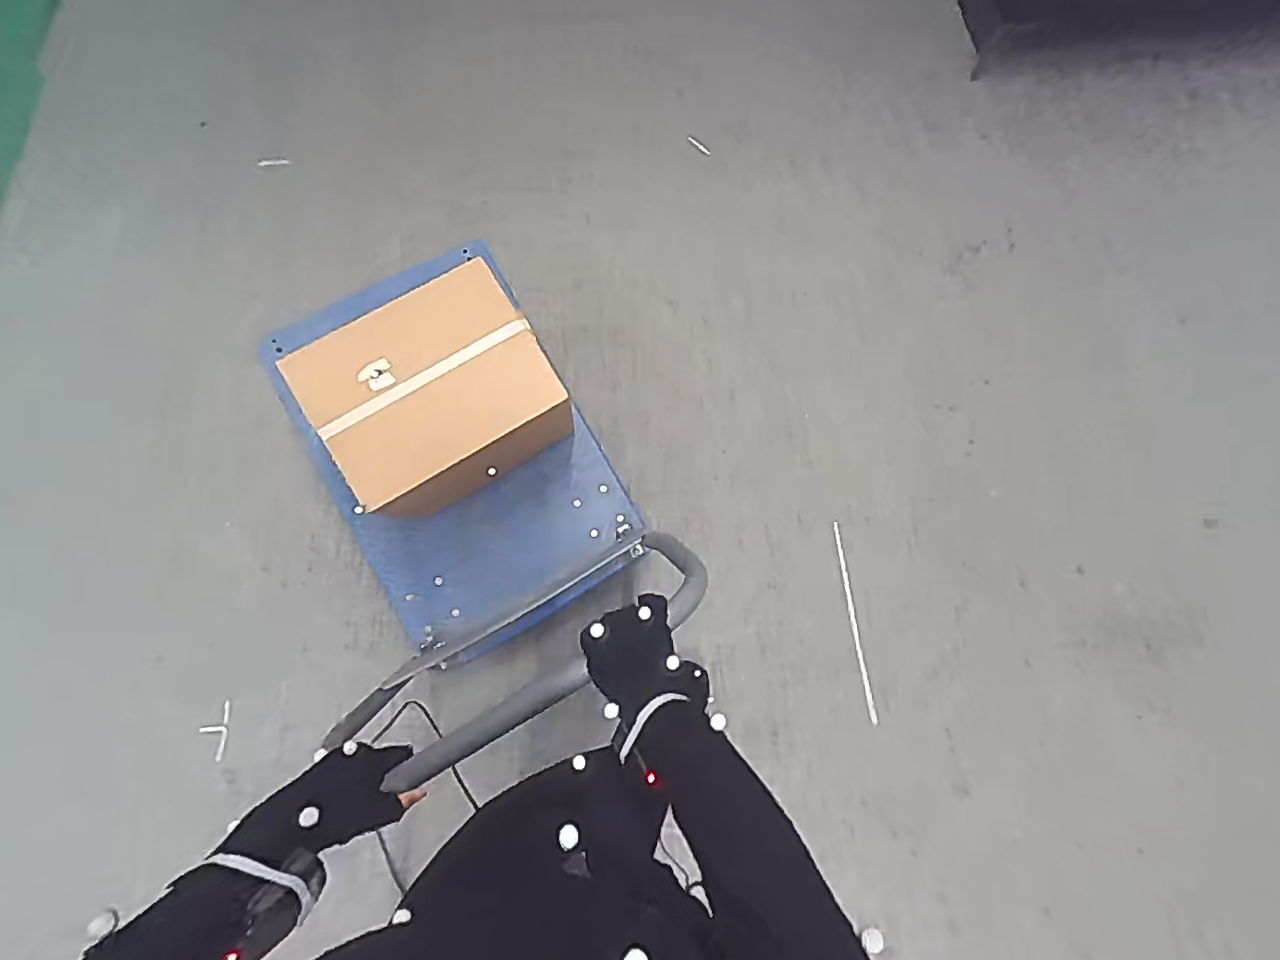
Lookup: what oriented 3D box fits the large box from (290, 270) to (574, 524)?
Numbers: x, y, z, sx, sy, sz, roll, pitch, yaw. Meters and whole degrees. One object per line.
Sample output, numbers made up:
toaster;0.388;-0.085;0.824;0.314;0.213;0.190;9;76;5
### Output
large box;-0.386;-0.144;1.121;0.408;0.320;0.320;-33;87;-7
